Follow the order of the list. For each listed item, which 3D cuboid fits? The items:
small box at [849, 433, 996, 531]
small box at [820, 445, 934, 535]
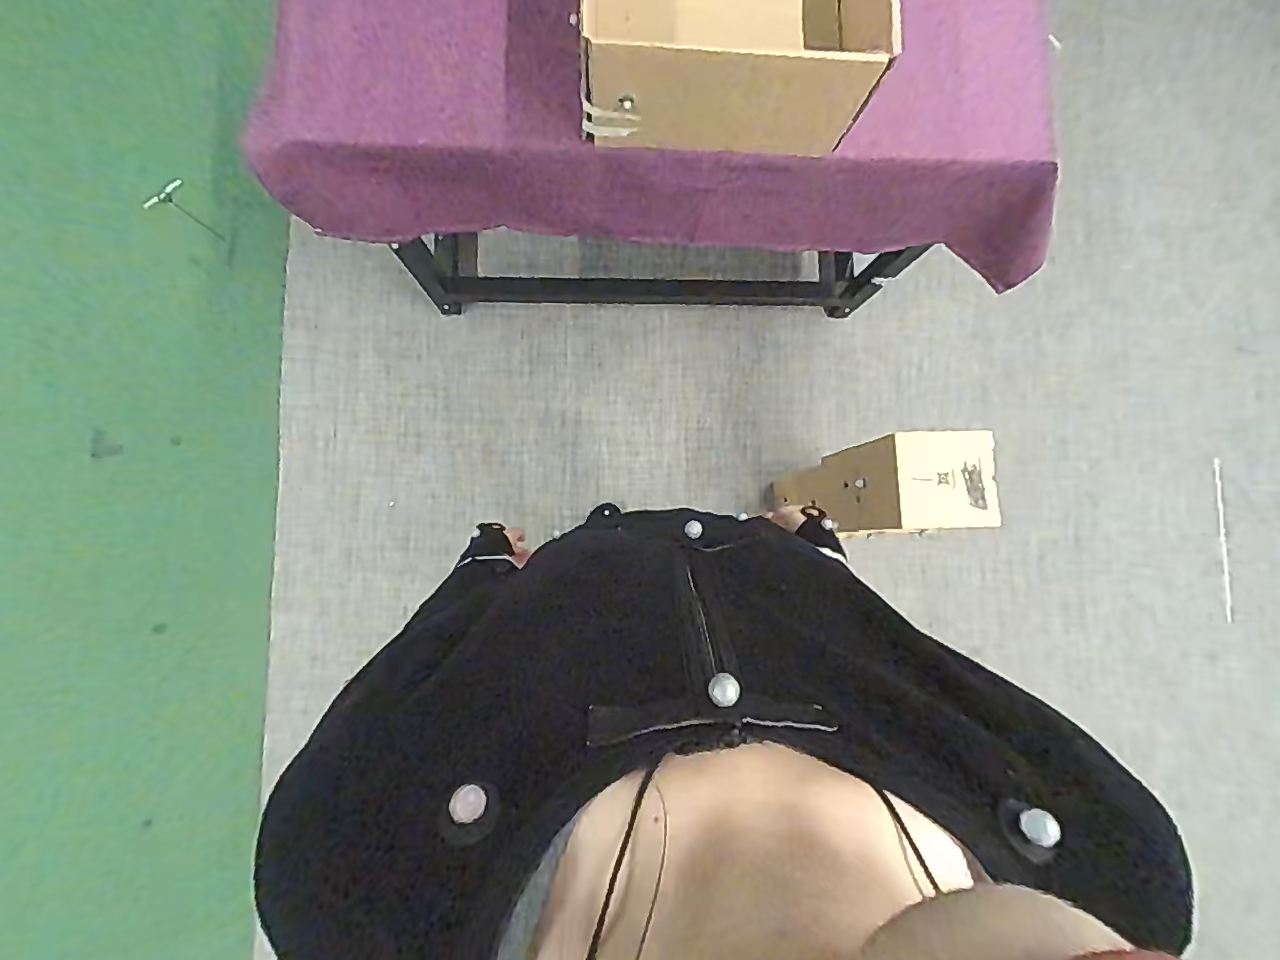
[{"bbox_3d":[0.504,0.009,0.986,0.179,0.176,0.168,-1,84,-3],"label":"small box"},{"bbox_3d":[0.494,0.028,1.149,0.168,0.176,0.179,1,84,-4],"label":"small box"}]
